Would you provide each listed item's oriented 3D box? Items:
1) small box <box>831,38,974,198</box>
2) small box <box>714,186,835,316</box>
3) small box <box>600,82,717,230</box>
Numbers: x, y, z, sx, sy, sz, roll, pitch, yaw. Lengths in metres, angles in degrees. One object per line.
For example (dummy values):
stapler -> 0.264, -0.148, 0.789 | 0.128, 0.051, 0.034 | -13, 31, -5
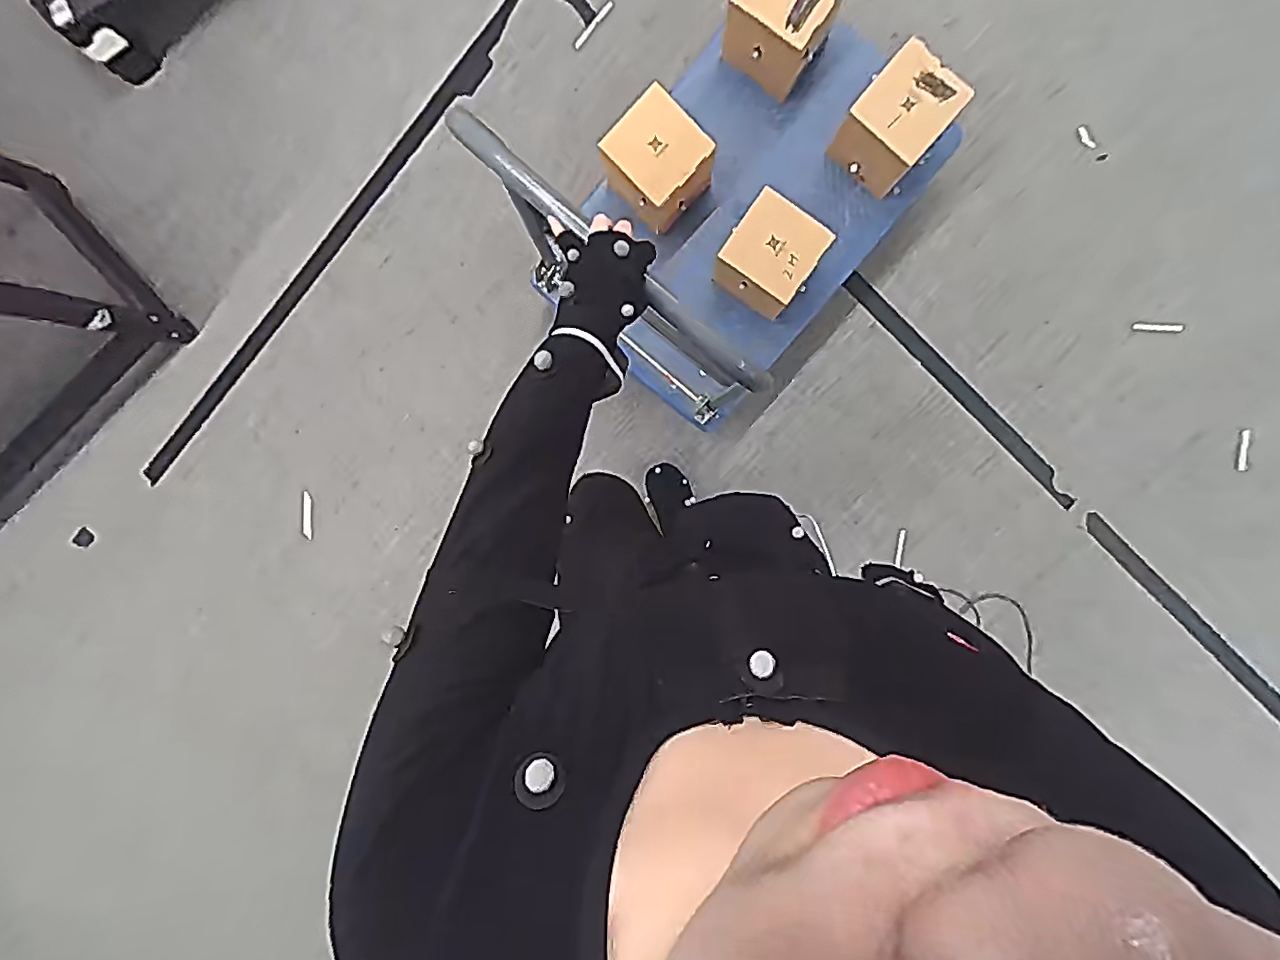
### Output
small box -> 0.526, -0.731, 1.114 | 0.168, 0.176, 0.179 | 41, 98, -2
small box -> 0.275, -0.475, 1.155 | 0.179, 0.176, 0.168 | 36, 97, -1
small box -> 0.038, -0.671, 1.147 | 0.168, 0.176, 0.179 | -45, 94, 6
